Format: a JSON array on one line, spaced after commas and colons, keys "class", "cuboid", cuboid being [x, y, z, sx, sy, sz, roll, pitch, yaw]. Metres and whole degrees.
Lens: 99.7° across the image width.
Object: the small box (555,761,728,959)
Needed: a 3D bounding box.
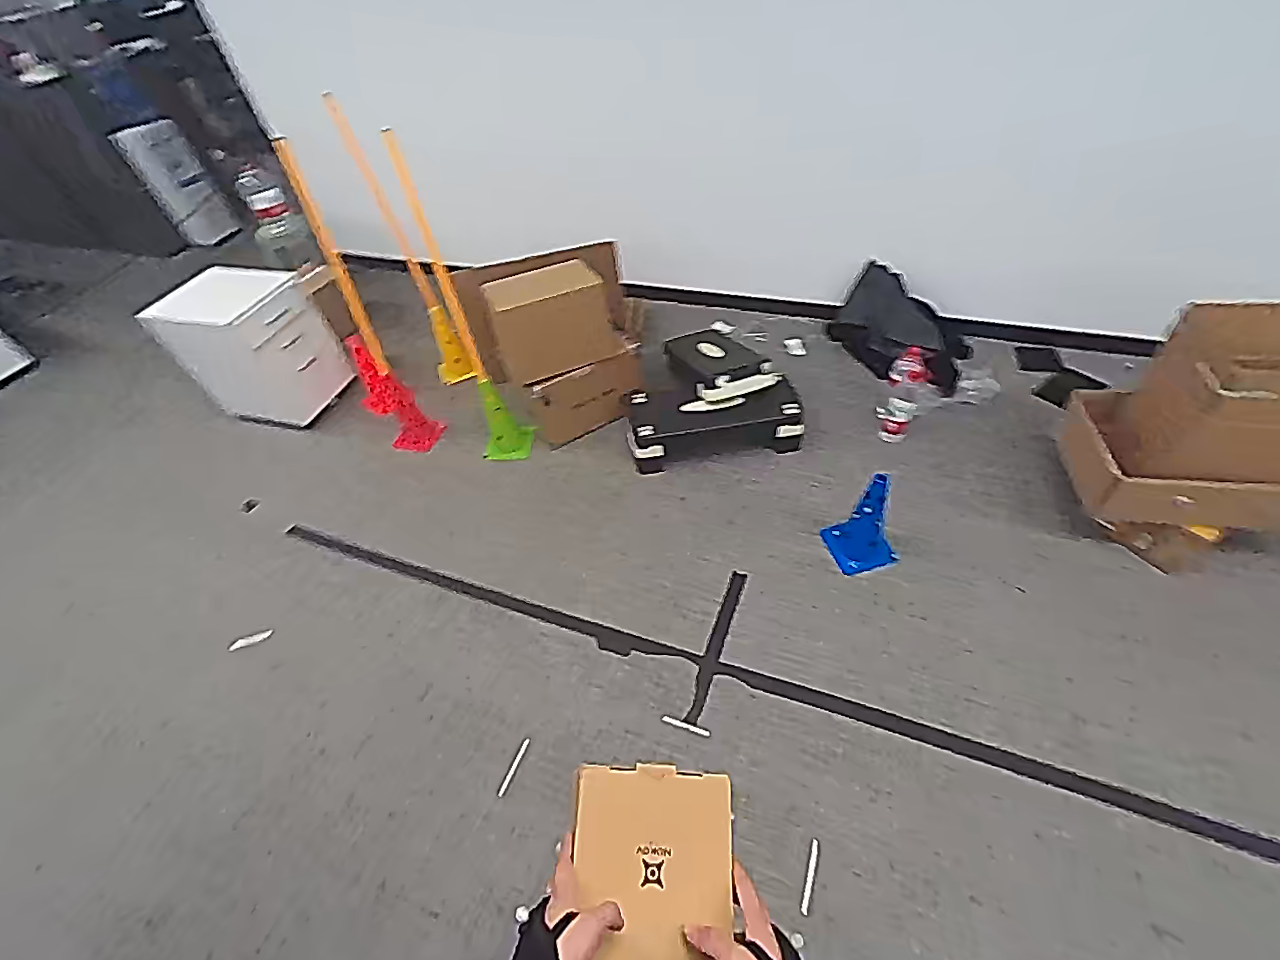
[{"class": "small box", "cuboid": [-0.002, 0.424, 0.610, 0.168, 0.176, 0.179, 7, 59, -6]}]
